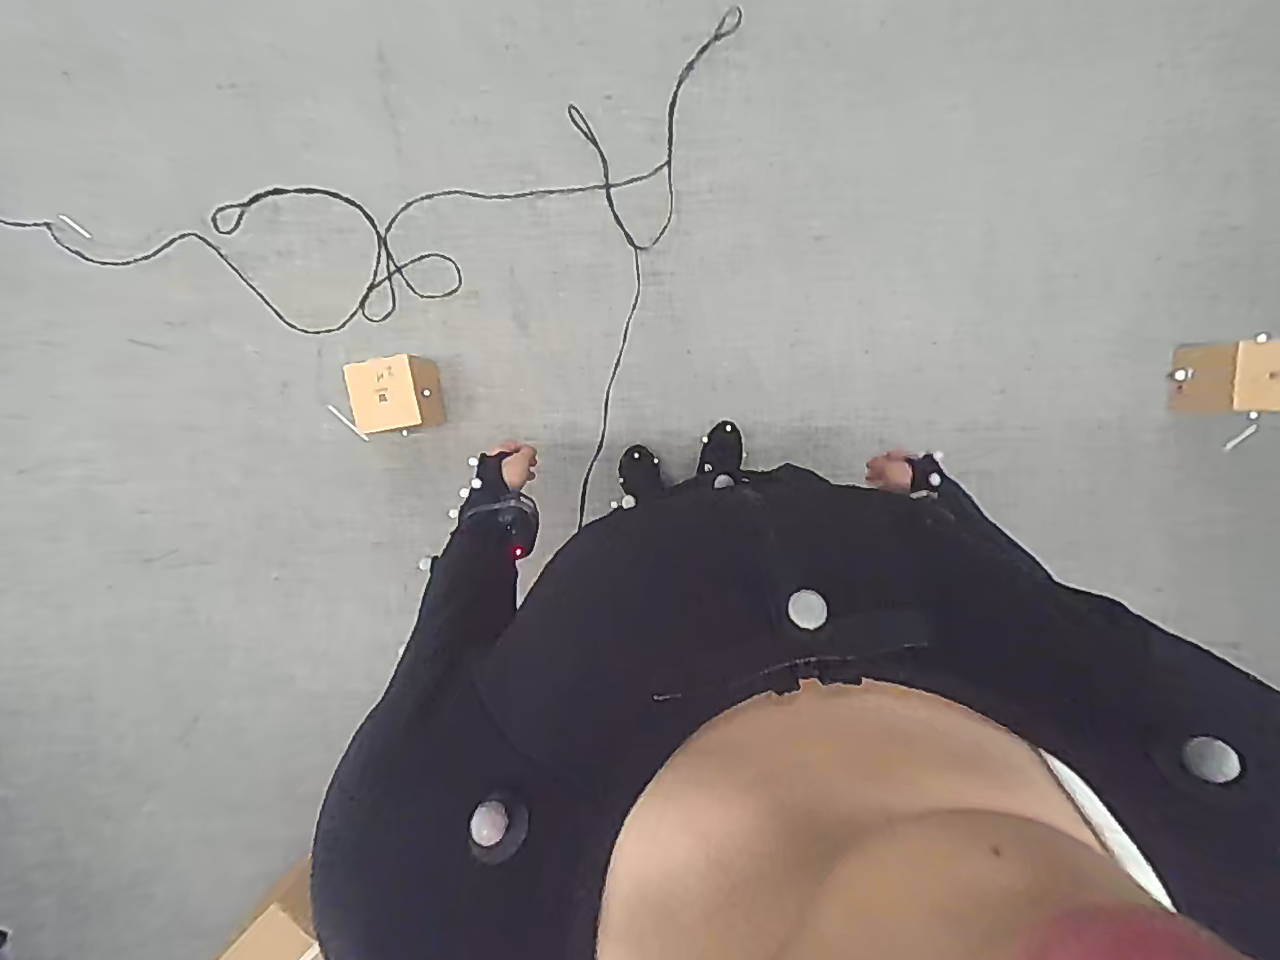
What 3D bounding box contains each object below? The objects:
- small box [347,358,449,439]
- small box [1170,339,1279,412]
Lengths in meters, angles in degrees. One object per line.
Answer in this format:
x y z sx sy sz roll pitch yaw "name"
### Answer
-0.614 -0.208 1.395 0.168 0.176 0.179 -10 95 3 "small box"
1.494 -0.257 1.345 0.179 0.176 0.168 -1 96 3 "small box"
